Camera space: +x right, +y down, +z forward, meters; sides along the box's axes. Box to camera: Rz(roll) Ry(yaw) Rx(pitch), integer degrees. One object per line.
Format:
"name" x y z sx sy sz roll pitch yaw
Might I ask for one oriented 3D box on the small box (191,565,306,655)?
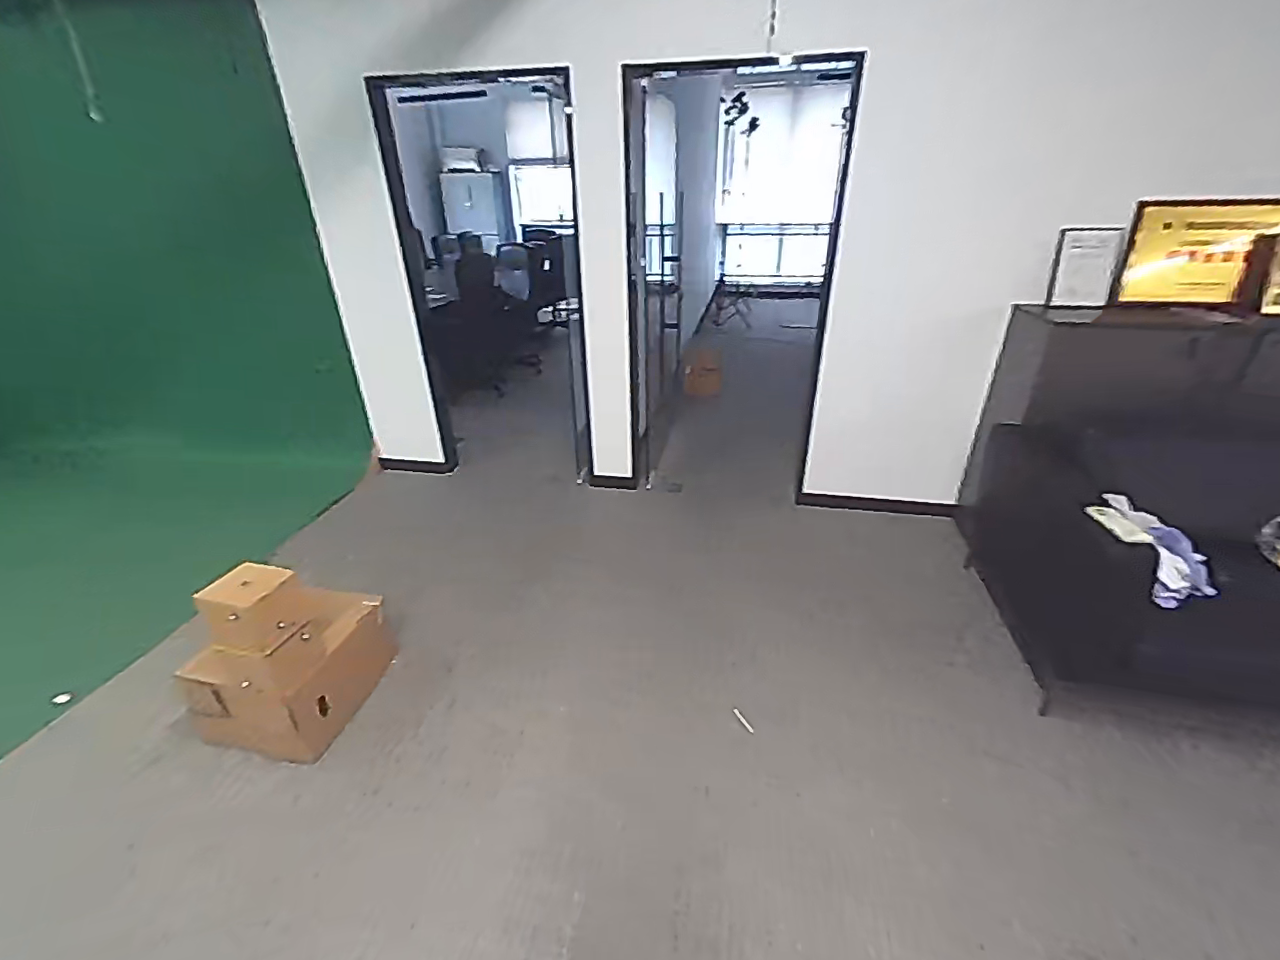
"small box" -1.074 0.360 1.497 0.179 0.176 0.168 8 28 12

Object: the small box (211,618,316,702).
"small box" -1.078 0.506 1.570 0.168 0.176 0.179 6 28 12
